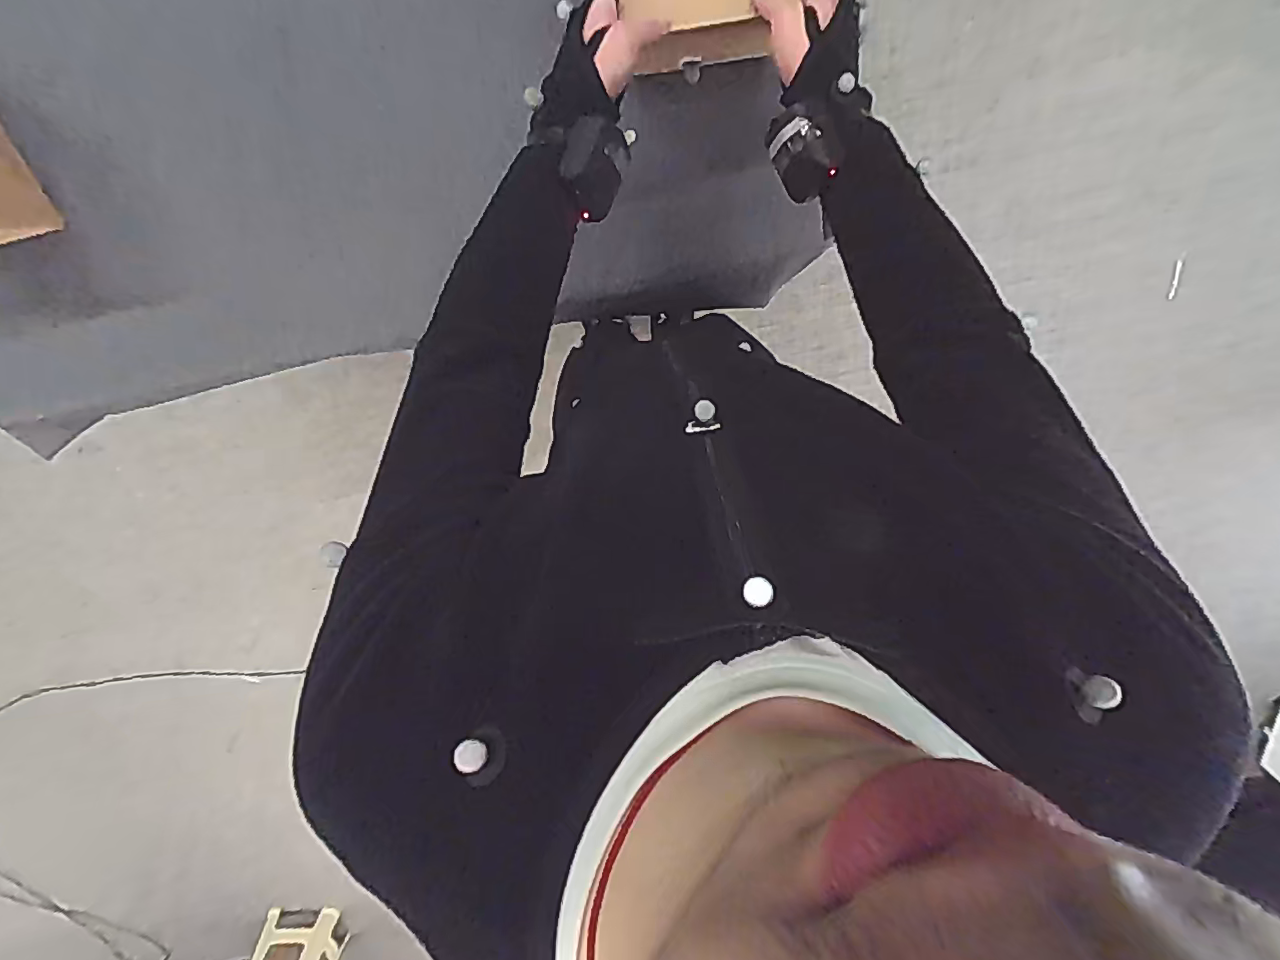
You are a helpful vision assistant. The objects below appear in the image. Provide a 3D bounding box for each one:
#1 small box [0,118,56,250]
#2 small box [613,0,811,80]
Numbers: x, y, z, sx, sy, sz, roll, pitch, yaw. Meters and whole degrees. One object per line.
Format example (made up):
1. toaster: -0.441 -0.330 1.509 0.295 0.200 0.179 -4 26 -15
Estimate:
1. small box: -0.811 -0.332 0.582 0.179 0.176 0.168 -12 117 4
2. small box: 0.055 -0.491 0.486 0.168 0.176 0.179 -4 117 5
